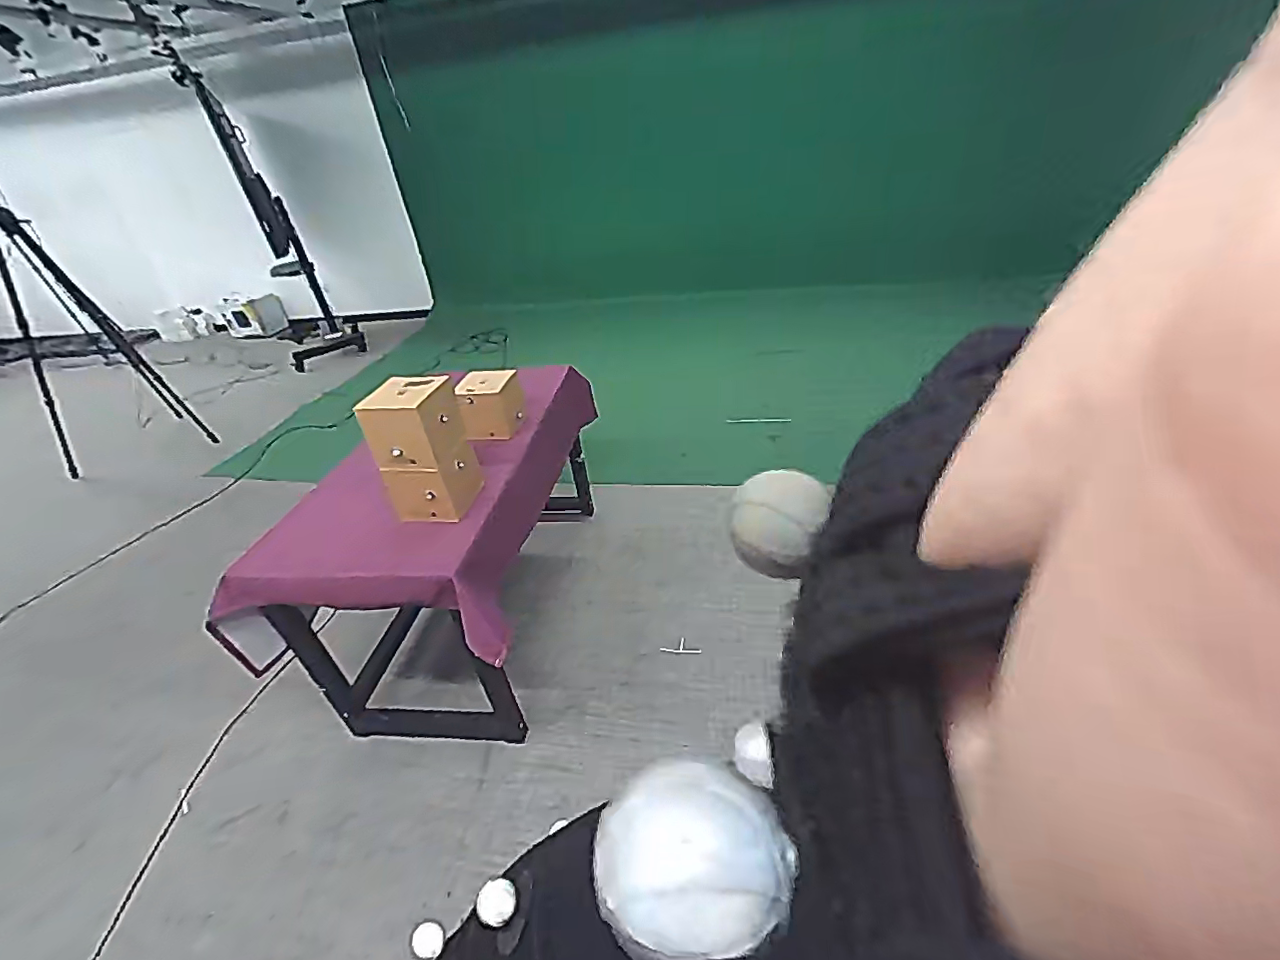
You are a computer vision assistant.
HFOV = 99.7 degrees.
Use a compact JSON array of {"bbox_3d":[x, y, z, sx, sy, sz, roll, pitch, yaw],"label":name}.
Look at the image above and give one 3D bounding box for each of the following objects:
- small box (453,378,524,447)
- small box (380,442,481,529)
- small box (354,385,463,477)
[{"bbox_3d":[-0.494,-0.222,1.775,0.168,0.176,0.179,-1,34,11],"label":"small box"},{"bbox_3d":[-0.541,0.015,1.430,0.168,0.176,0.179,0,34,12],"label":"small box"},{"bbox_3d":[-0.562,-0.124,1.345,0.168,0.176,0.179,0,35,11],"label":"small box"}]
